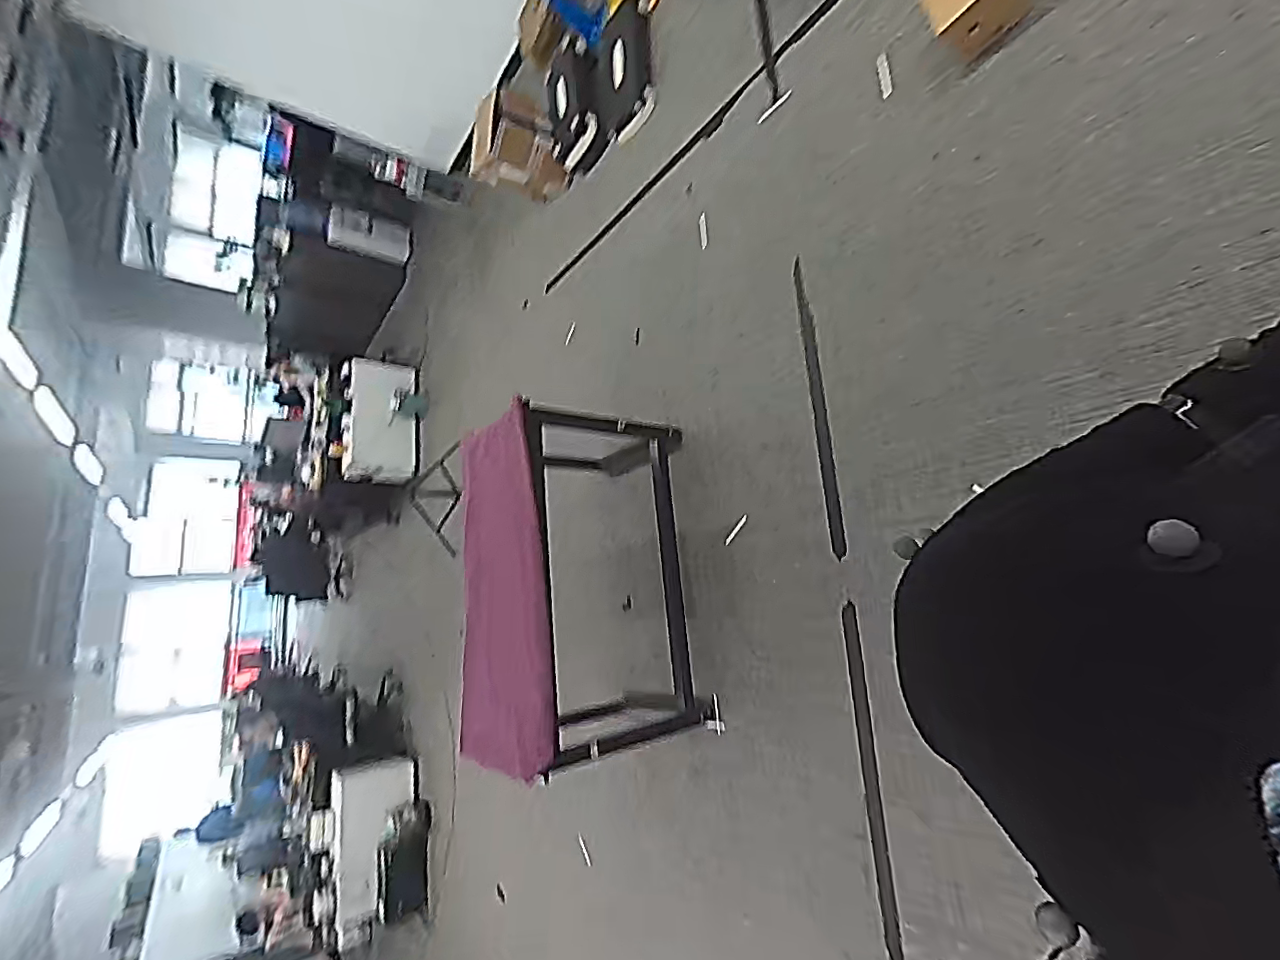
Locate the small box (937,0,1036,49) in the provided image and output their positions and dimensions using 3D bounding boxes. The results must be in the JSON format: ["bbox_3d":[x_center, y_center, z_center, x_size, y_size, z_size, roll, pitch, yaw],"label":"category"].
[{"bbox_3d":[0.883,-1.265,1.391,0.168,0.176,0.179,-28,64,47],"label":"small box"}]
